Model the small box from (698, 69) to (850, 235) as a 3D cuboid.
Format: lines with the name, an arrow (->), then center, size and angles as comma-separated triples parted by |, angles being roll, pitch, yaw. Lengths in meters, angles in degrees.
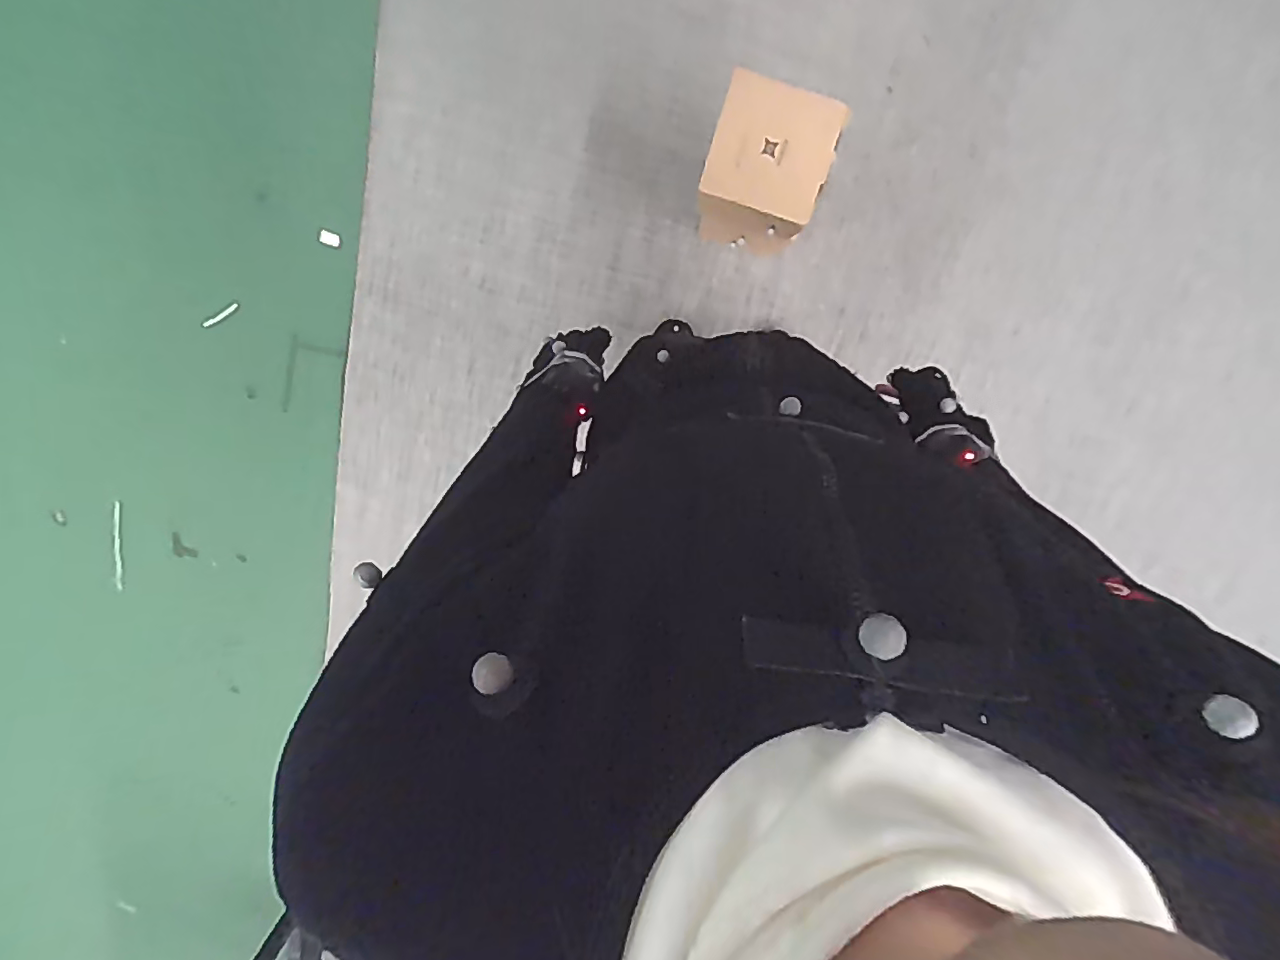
small box -> 0.201, -0.505, 0.862 | 0.179, 0.176, 0.168 | 18, 108, 1

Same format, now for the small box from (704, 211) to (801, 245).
small box -> 0.229, -0.553, 1.016 | 0.179, 0.176, 0.168 | 18, 108, -1

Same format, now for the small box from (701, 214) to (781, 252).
small box -> 0.243, -0.606, 1.167 | 0.179, 0.176, 0.168 | 20, 107, -1
